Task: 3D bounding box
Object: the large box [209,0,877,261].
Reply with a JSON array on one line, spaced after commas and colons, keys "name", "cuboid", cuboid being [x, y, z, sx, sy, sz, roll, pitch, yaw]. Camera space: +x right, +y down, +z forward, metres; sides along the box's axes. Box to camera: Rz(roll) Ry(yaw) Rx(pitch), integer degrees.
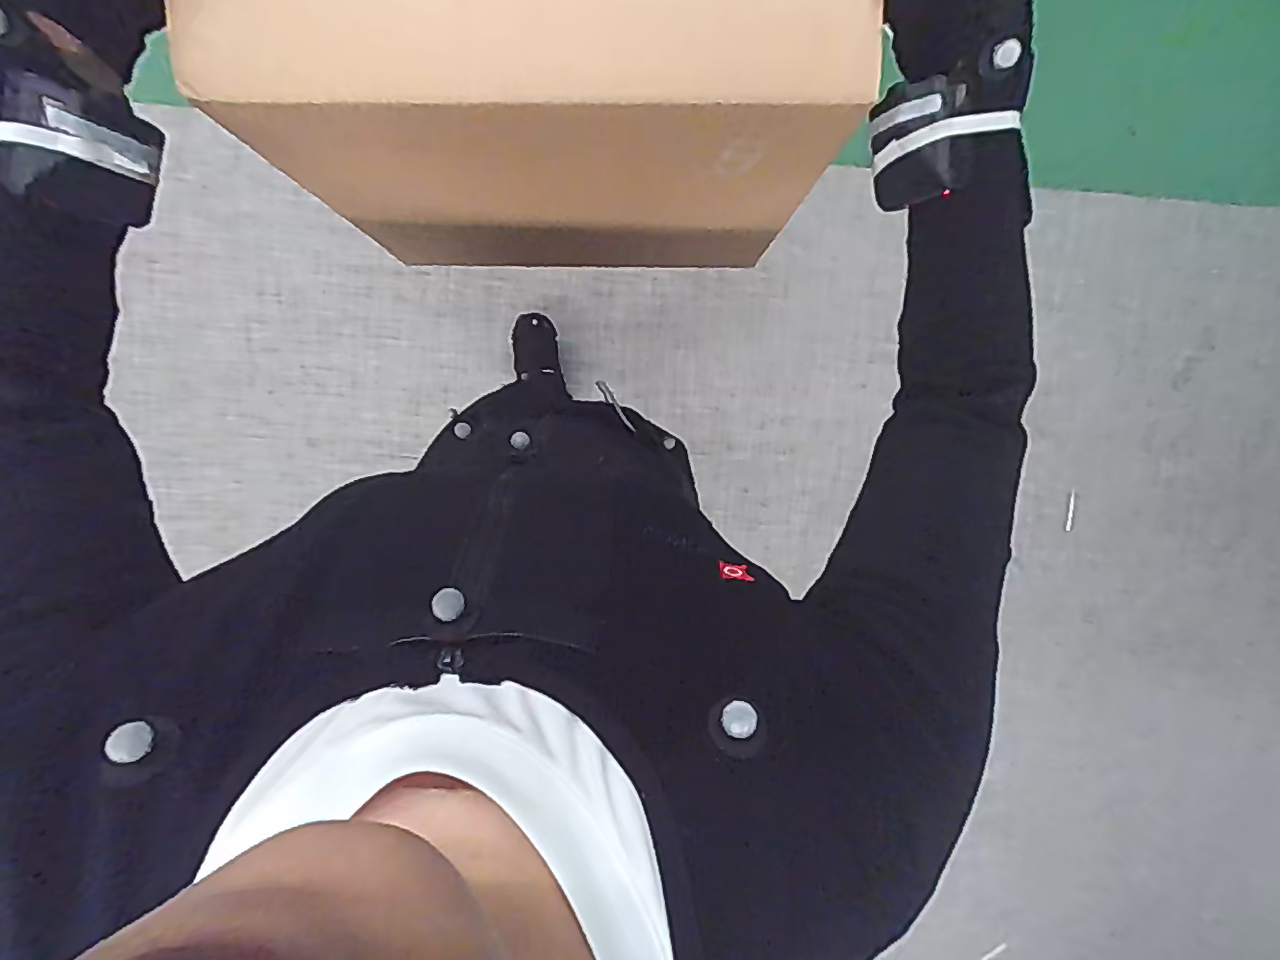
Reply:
[{"name": "large box", "cuboid": [-0.061, -0.395, 0.462, 0.408, 0.320, 0.320, -1, 96, -1]}]
